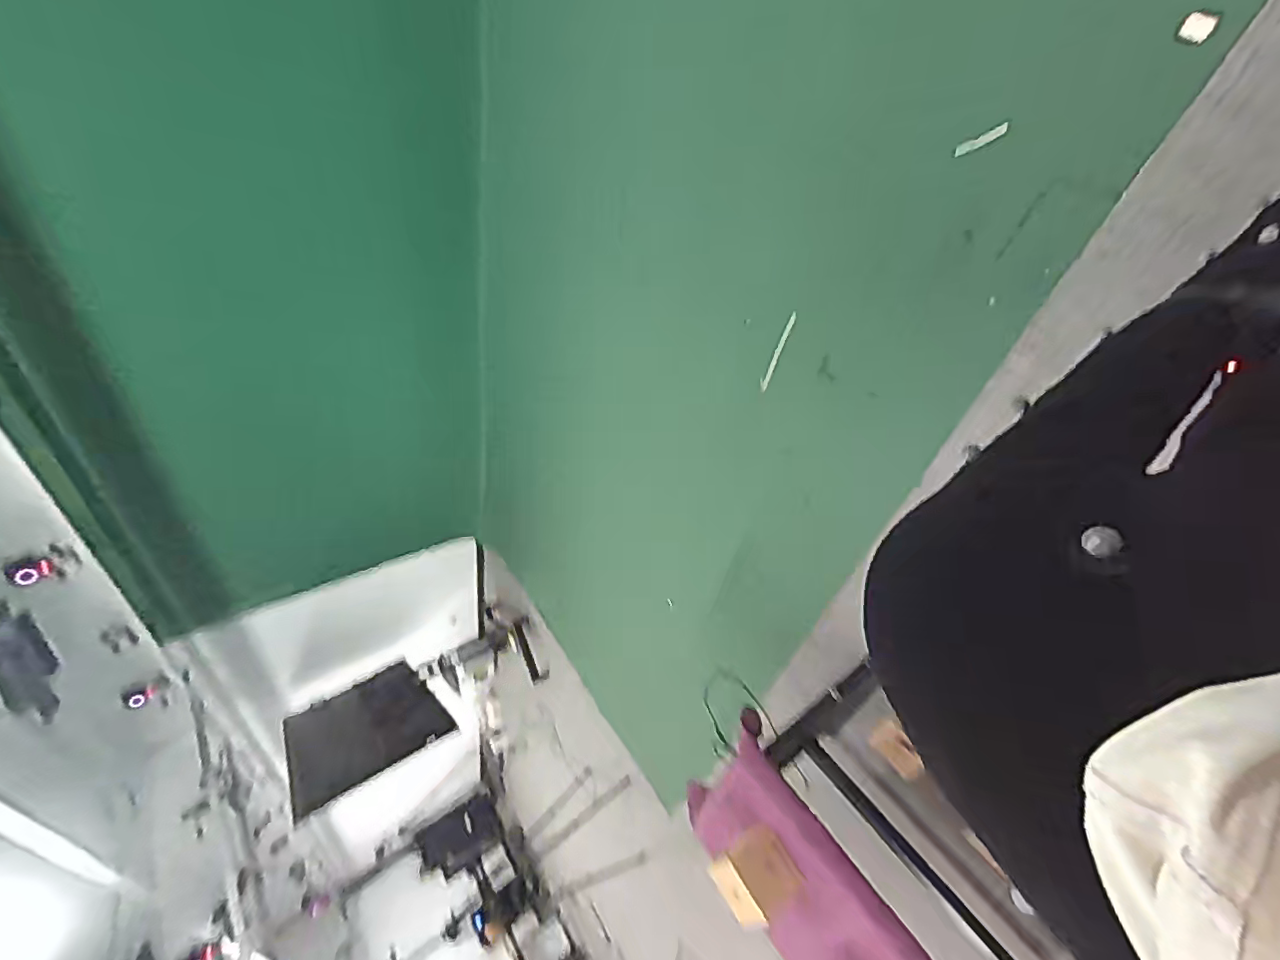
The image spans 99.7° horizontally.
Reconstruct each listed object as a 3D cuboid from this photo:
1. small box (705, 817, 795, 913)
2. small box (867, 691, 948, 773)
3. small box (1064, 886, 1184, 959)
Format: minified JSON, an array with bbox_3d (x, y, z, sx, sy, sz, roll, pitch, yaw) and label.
[{"bbox_3d":[0.330,1.134,1.599,0.168,0.176,0.179,53,143,24],"label":"small box"},{"bbox_3d":[0.948,0.881,1.906,0.168,0.176,0.179,44,140,34],"label":"small box"},{"bbox_3d":[1.369,1.306,1.526,0.179,0.176,0.168,46,140,32],"label":"small box"}]
